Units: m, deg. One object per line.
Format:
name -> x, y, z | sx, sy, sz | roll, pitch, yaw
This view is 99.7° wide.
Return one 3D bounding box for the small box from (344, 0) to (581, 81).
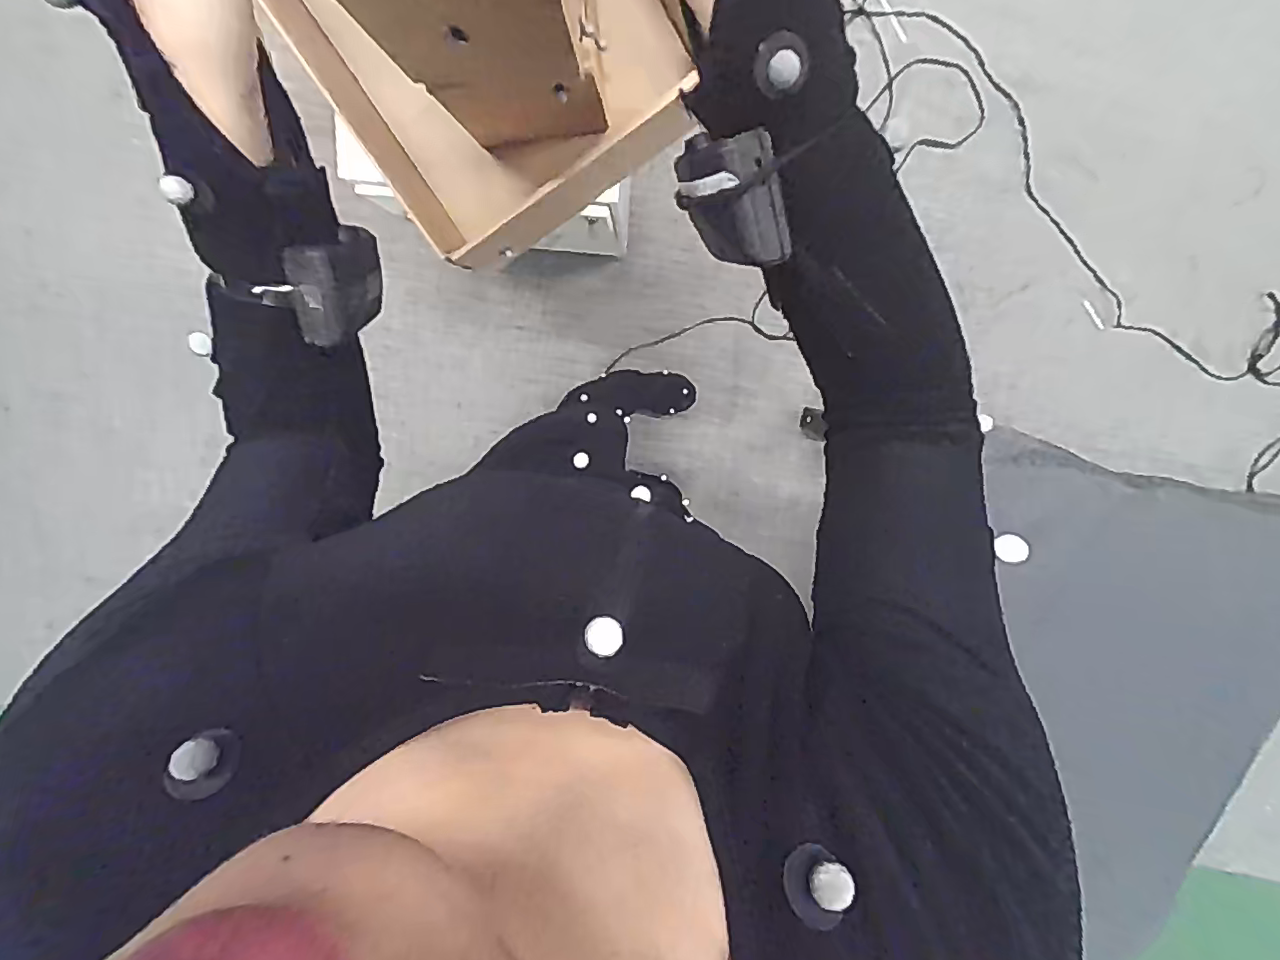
small box -> -0.143, -0.464, 0.450 | 0.179, 0.176, 0.168 | 1, 104, 2
